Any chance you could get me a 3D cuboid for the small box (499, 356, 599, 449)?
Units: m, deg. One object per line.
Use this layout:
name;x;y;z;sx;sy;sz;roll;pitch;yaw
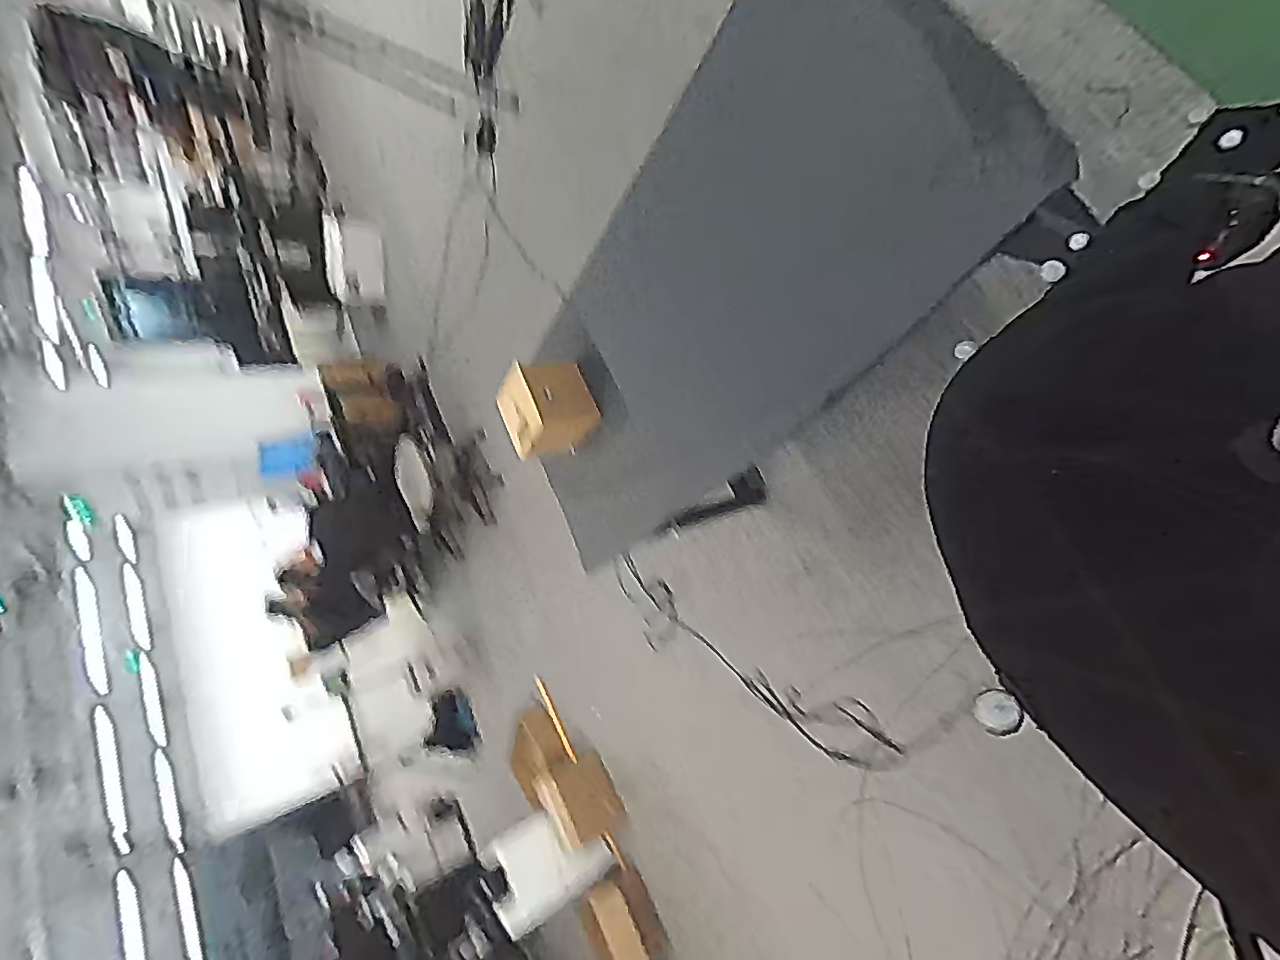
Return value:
small box;-0.229;-0.201;1.369;0.168;0.176;0.179;-44;65;47
